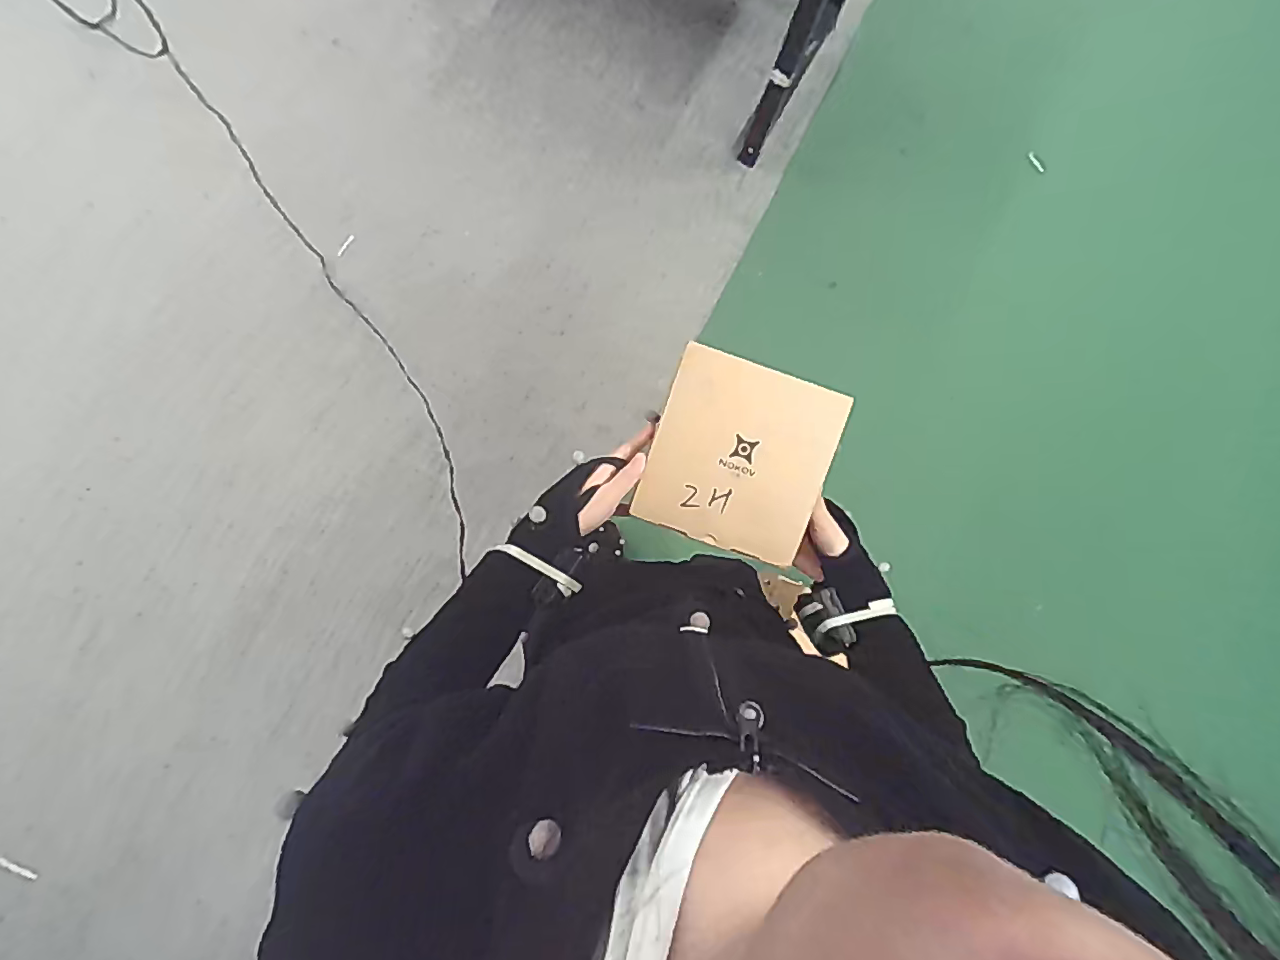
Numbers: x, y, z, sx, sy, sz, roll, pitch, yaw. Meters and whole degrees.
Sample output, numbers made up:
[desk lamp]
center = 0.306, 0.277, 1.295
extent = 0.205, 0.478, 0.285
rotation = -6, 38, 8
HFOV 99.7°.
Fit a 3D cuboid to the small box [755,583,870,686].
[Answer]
[small box]
center = 0.398, 0.354, 1.276
extent = 0.179, 0.176, 0.168
rotation = 24, 84, -3
